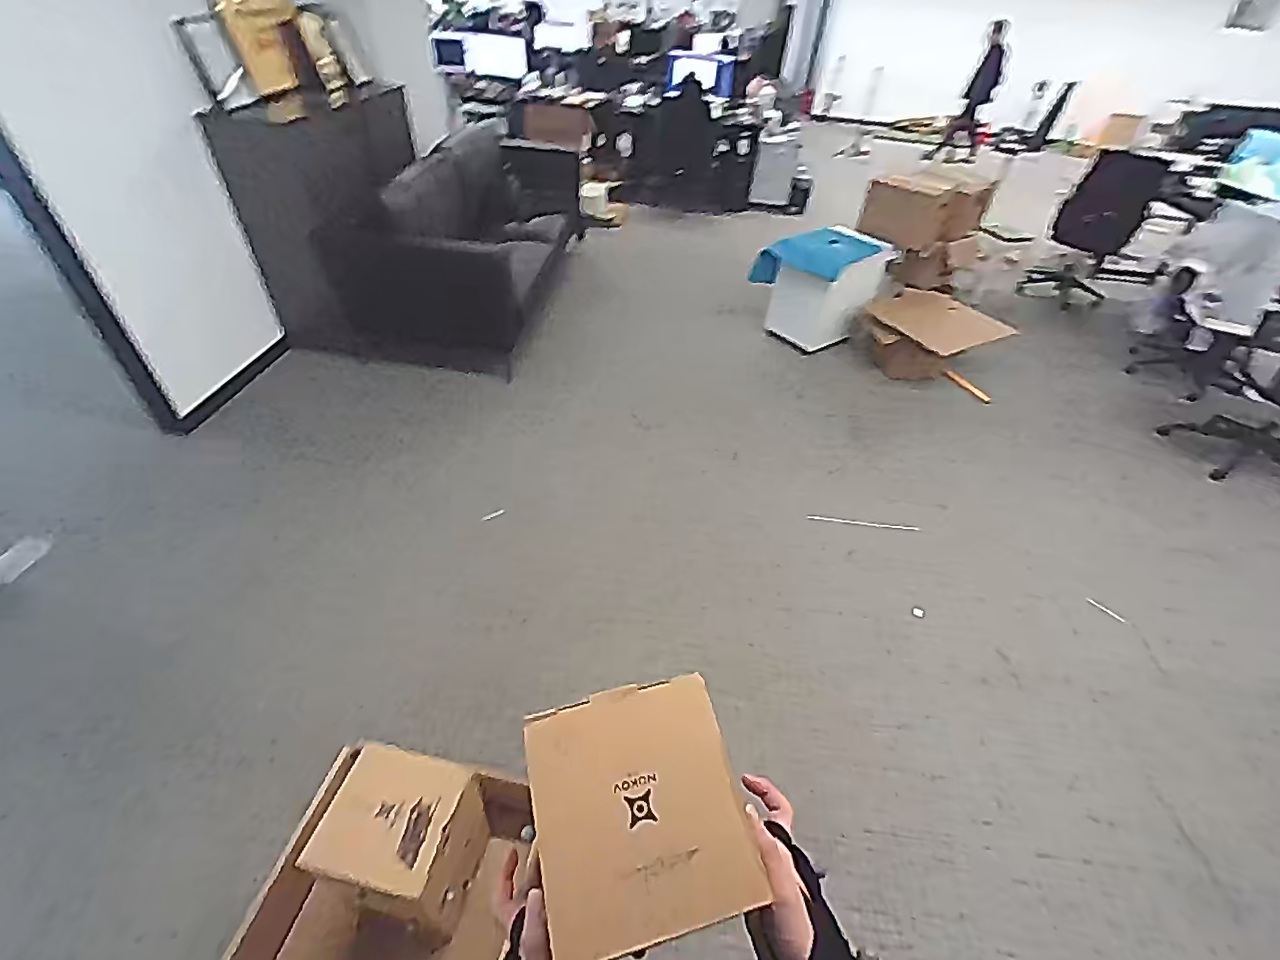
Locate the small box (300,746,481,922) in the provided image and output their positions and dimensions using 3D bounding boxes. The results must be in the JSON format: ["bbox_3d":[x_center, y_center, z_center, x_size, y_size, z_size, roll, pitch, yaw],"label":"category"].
[{"bbox_3d":[-0.360,0.540,0.822,0.179,0.176,0.168,11,42,7],"label":"small box"}]

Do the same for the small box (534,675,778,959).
[{"bbox_3d":[0.000,0.304,0.495,0.168,0.176,0.179,-9,56,-10],"label":"small box"}]
